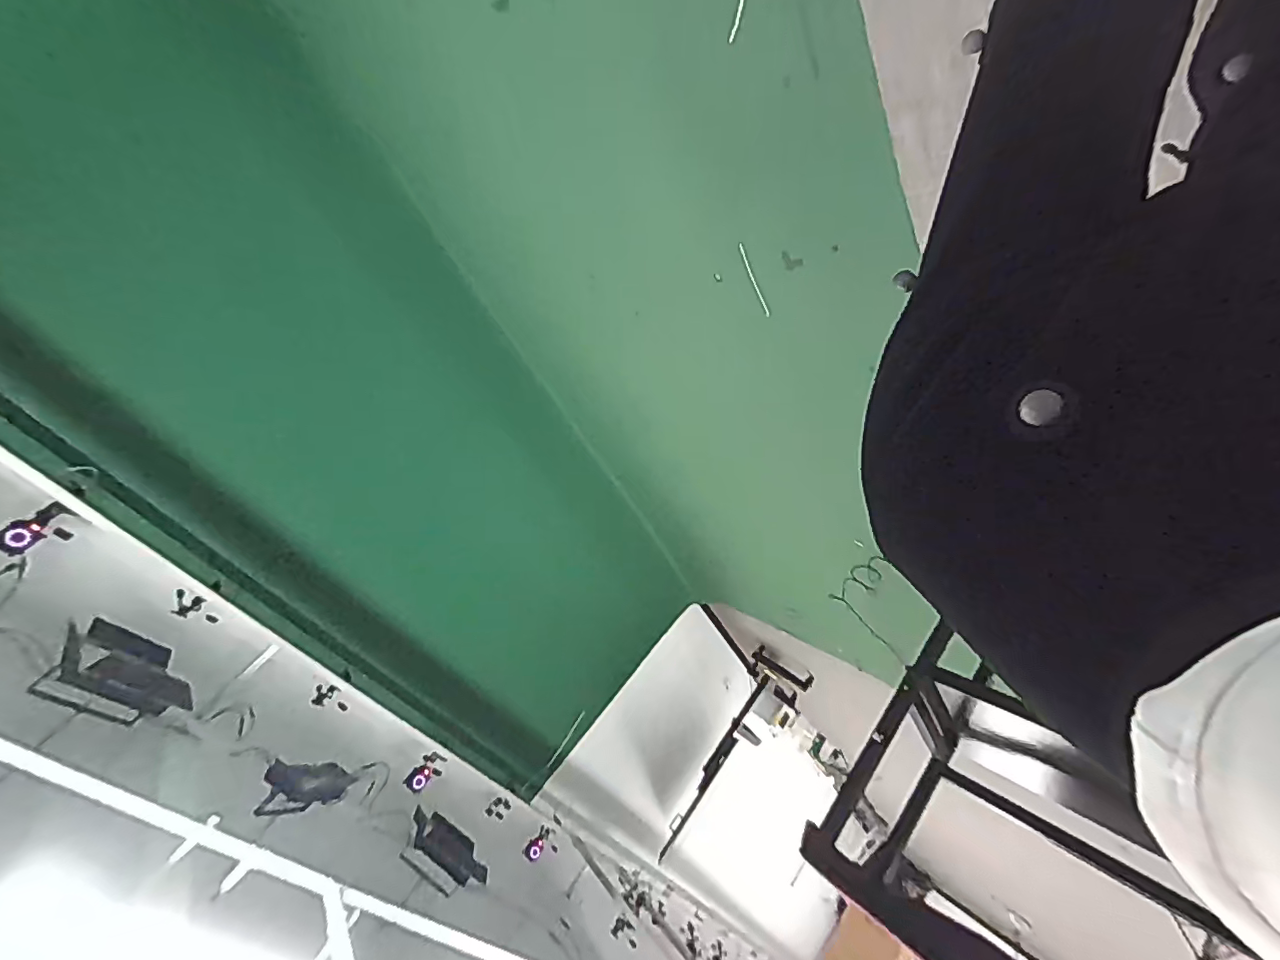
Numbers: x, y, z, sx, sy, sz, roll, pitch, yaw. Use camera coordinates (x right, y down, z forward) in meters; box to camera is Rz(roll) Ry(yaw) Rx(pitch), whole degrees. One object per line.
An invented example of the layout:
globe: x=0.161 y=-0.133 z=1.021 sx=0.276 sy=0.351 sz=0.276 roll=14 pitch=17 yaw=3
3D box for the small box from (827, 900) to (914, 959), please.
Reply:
small box: x=0.693 y=1.409 z=1.610 sx=0.168 sy=0.176 sz=0.179 roll=17 pitch=147 yaw=49
